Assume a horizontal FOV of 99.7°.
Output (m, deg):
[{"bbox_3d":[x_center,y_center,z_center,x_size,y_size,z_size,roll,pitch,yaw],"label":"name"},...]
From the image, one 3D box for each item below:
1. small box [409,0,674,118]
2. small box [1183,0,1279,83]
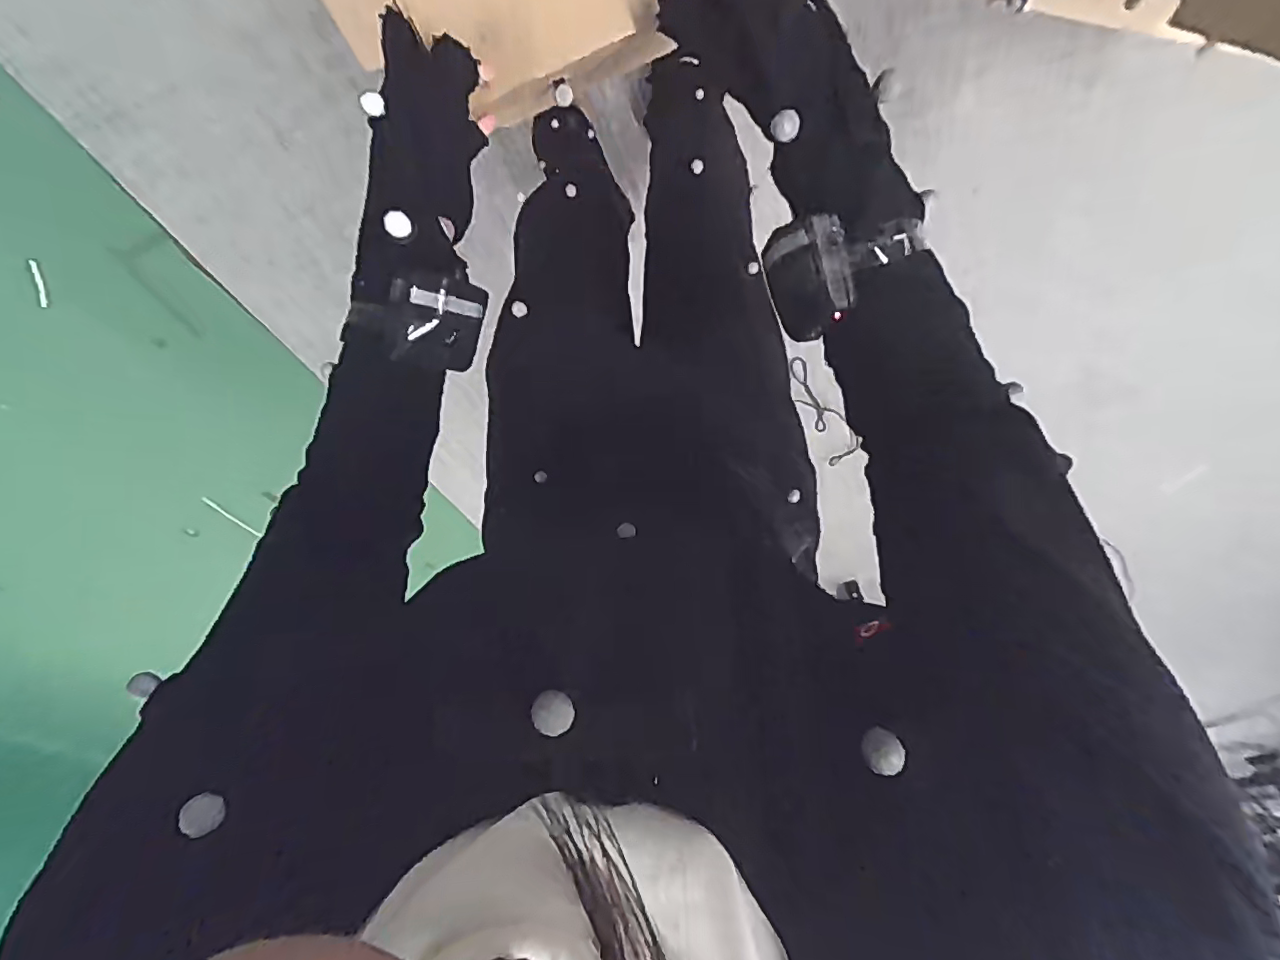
[{"bbox_3d":[-0.078,-0.398,0.400,0.179,0.176,0.168,-20,117,11],"label":"small box"},{"bbox_3d":[0.578,-0.414,0.402,0.168,0.176,0.179,2,140,-4],"label":"small box"}]
